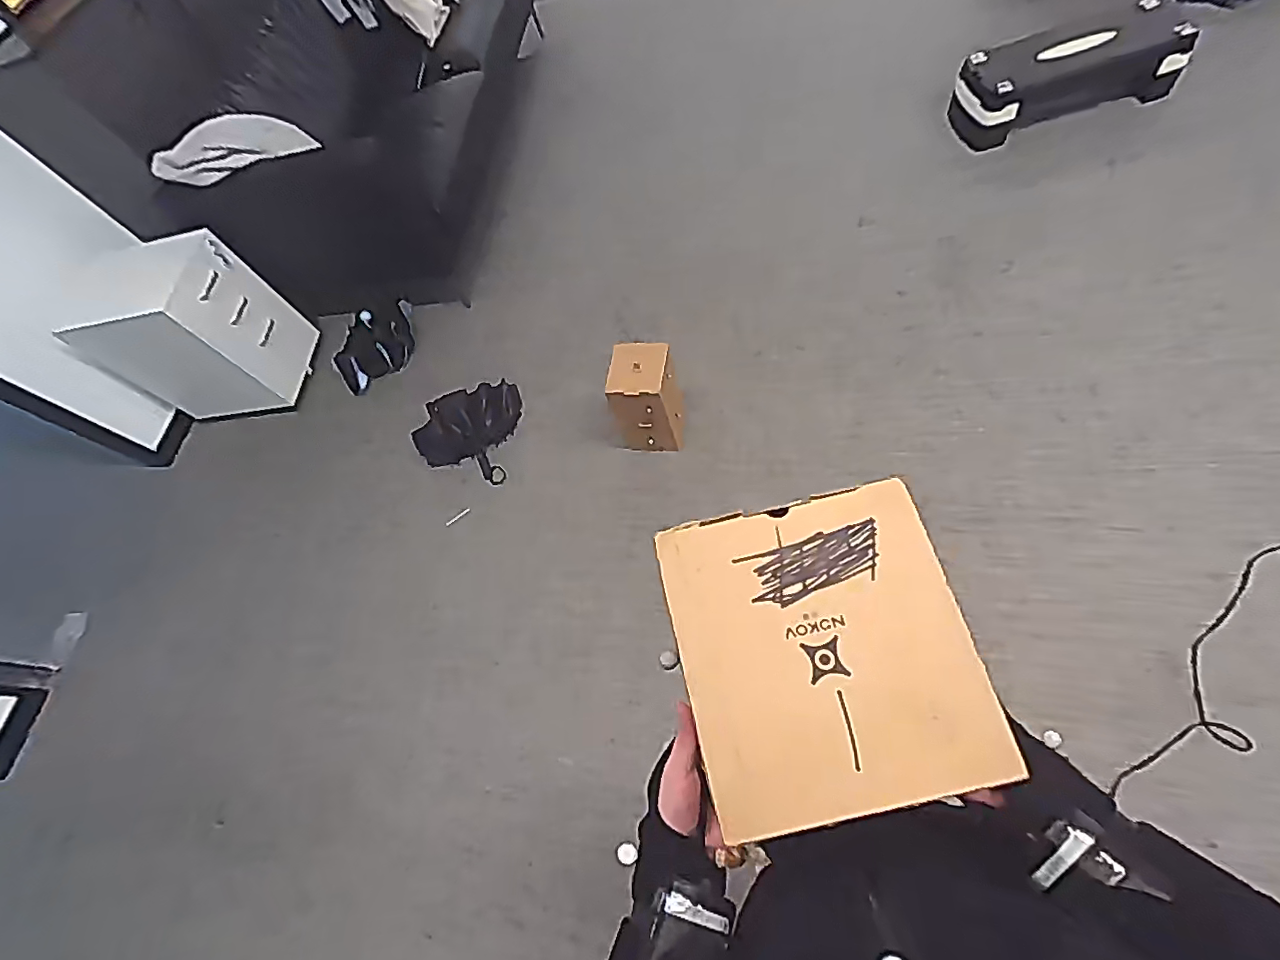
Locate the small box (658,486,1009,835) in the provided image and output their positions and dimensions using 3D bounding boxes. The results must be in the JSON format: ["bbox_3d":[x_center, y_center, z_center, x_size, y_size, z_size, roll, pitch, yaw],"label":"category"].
[{"bbox_3d":[0.109,0.125,0.394,0.168,0.176,0.179,-12,70,0],"label":"small box"}]
